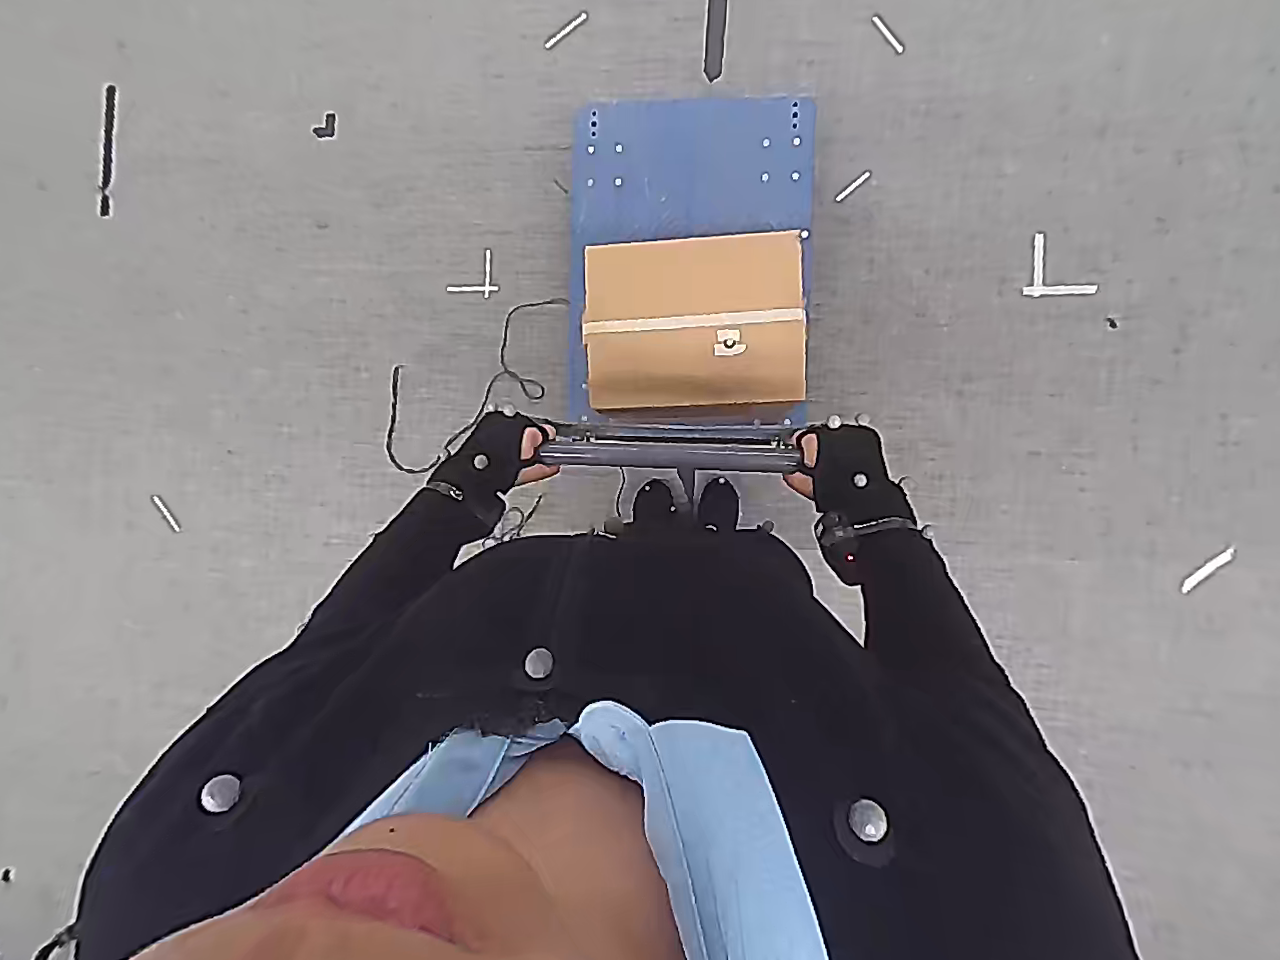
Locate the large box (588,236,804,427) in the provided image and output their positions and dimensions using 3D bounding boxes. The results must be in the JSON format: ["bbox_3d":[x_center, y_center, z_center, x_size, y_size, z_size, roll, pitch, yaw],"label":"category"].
[{"bbox_3d":[0.115,-0.293,1.171,0.408,0.320,0.320,-2,91,6],"label":"large box"}]
